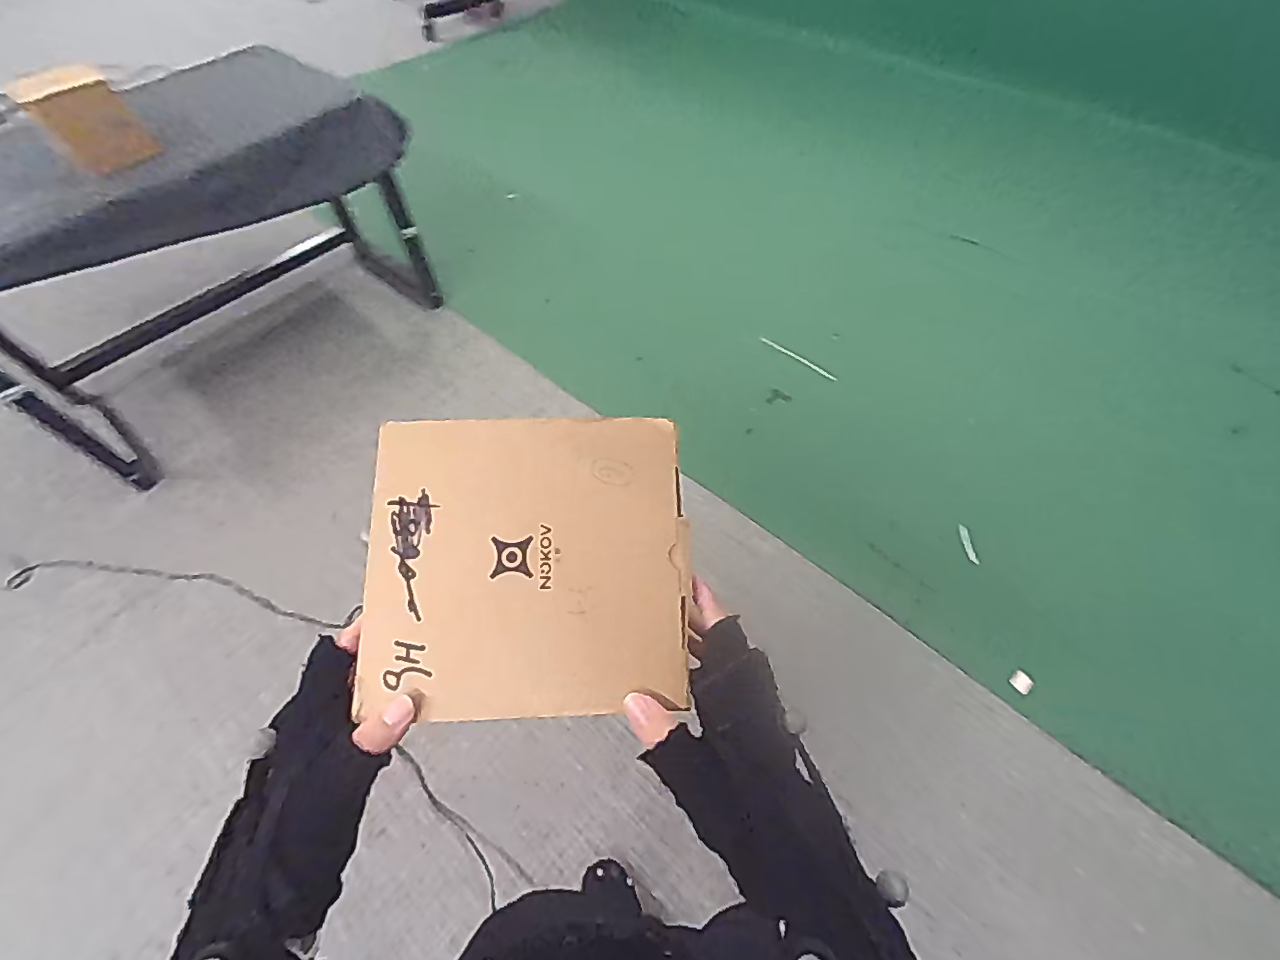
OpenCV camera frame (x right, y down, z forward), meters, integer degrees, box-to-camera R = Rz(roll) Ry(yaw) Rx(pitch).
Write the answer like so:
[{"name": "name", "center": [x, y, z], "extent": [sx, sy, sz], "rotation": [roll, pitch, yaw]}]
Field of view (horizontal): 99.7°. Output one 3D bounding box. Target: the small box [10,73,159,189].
[{"name": "small box", "center": [-1.332, -0.846, 1.315], "extent": [0.168, 0.176, 0.179], "rotation": [34, 65, 23]}]
